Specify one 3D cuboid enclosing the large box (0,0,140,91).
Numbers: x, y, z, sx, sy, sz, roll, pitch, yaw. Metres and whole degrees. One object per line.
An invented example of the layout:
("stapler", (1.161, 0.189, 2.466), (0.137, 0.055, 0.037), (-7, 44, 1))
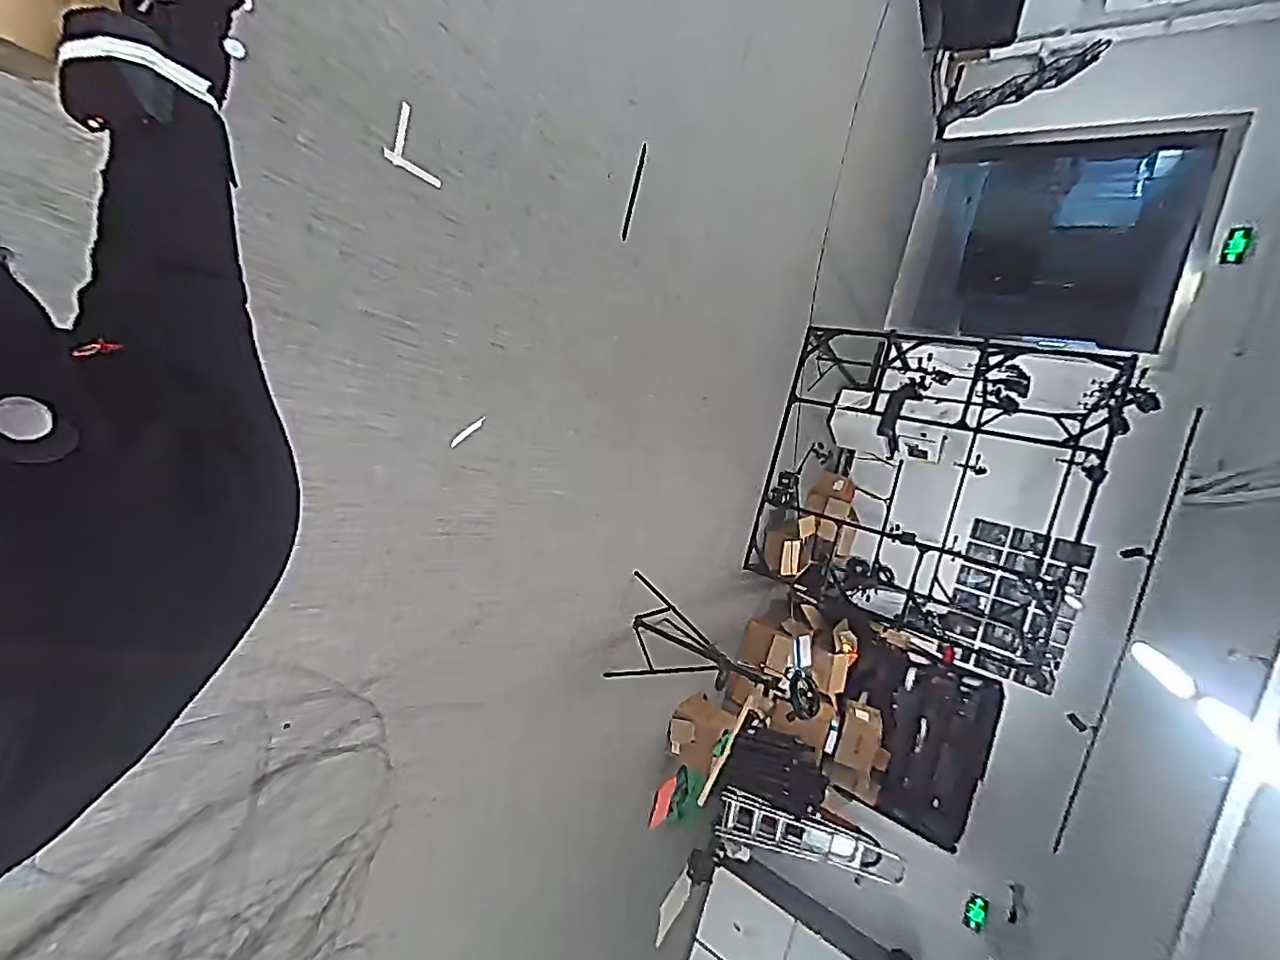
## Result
("large box", (-0.578, -0.489, 0.291), (0.408, 0.320, 0.320), (-5, 118, -59))
